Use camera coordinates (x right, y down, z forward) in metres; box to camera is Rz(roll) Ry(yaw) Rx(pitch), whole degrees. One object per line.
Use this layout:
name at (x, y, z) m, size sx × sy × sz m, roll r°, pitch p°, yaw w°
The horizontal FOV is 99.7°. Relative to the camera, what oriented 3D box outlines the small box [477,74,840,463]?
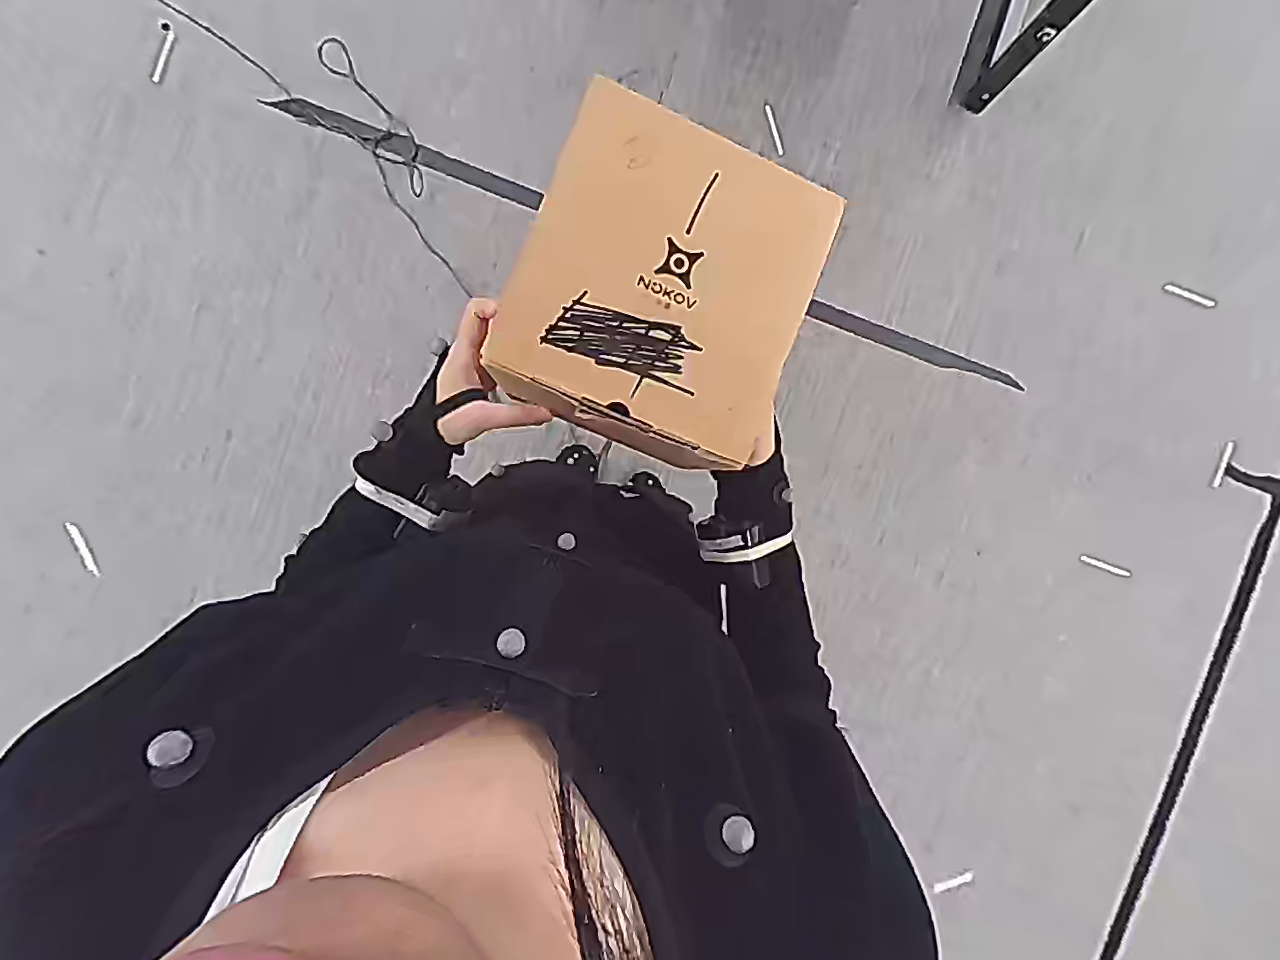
small box at (0.004, -0.120, 0.389) m, size 0.168 × 0.176 × 0.179 m, roll 22°, pitch 87°, yaw -8°
